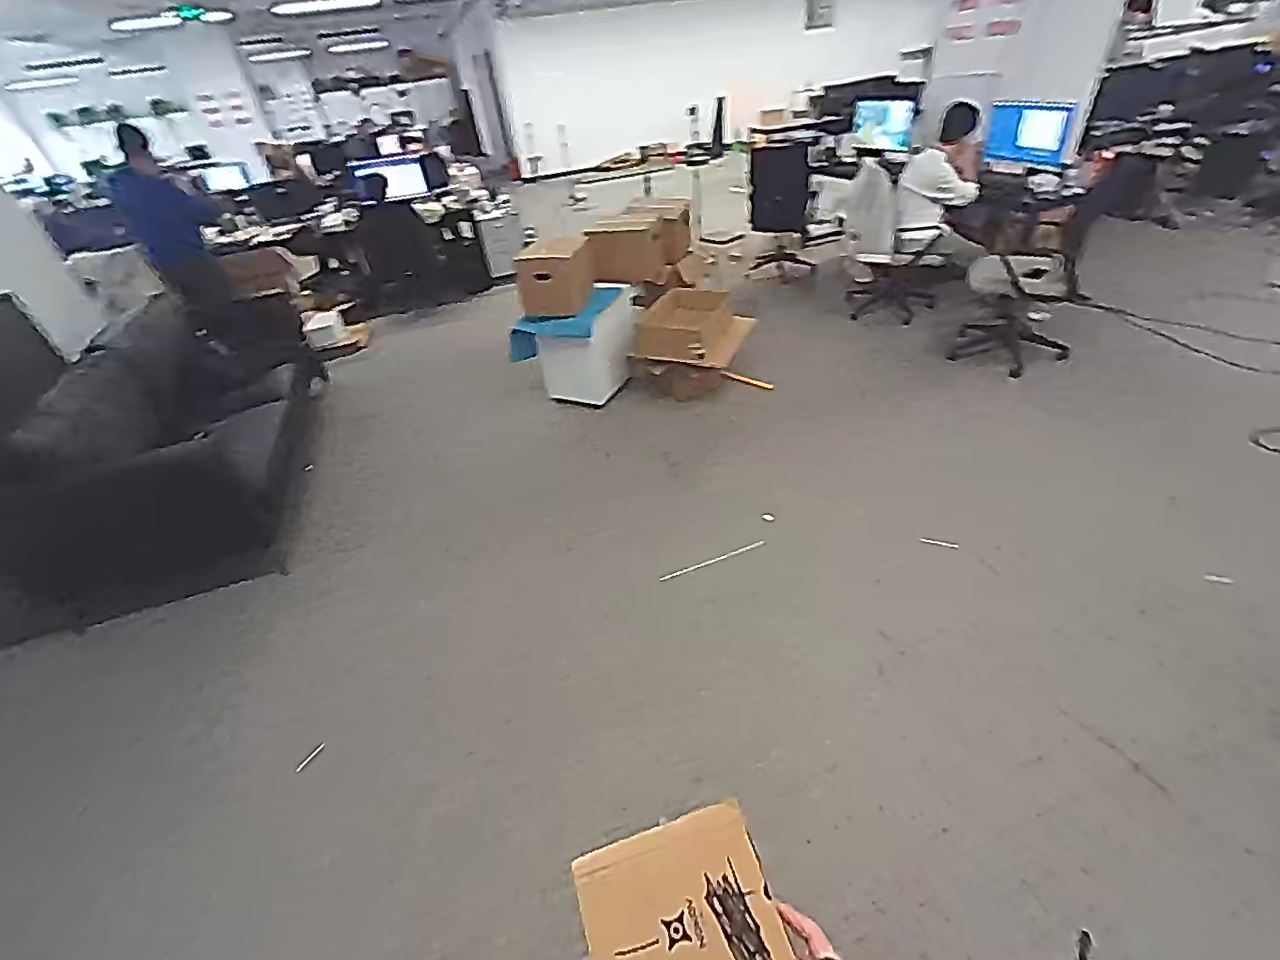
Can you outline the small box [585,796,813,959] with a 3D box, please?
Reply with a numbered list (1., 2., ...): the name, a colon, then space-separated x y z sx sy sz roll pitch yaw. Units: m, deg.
1. small box: 0.050 0.449 0.542 0.179 0.176 0.168 -13 48 -11
